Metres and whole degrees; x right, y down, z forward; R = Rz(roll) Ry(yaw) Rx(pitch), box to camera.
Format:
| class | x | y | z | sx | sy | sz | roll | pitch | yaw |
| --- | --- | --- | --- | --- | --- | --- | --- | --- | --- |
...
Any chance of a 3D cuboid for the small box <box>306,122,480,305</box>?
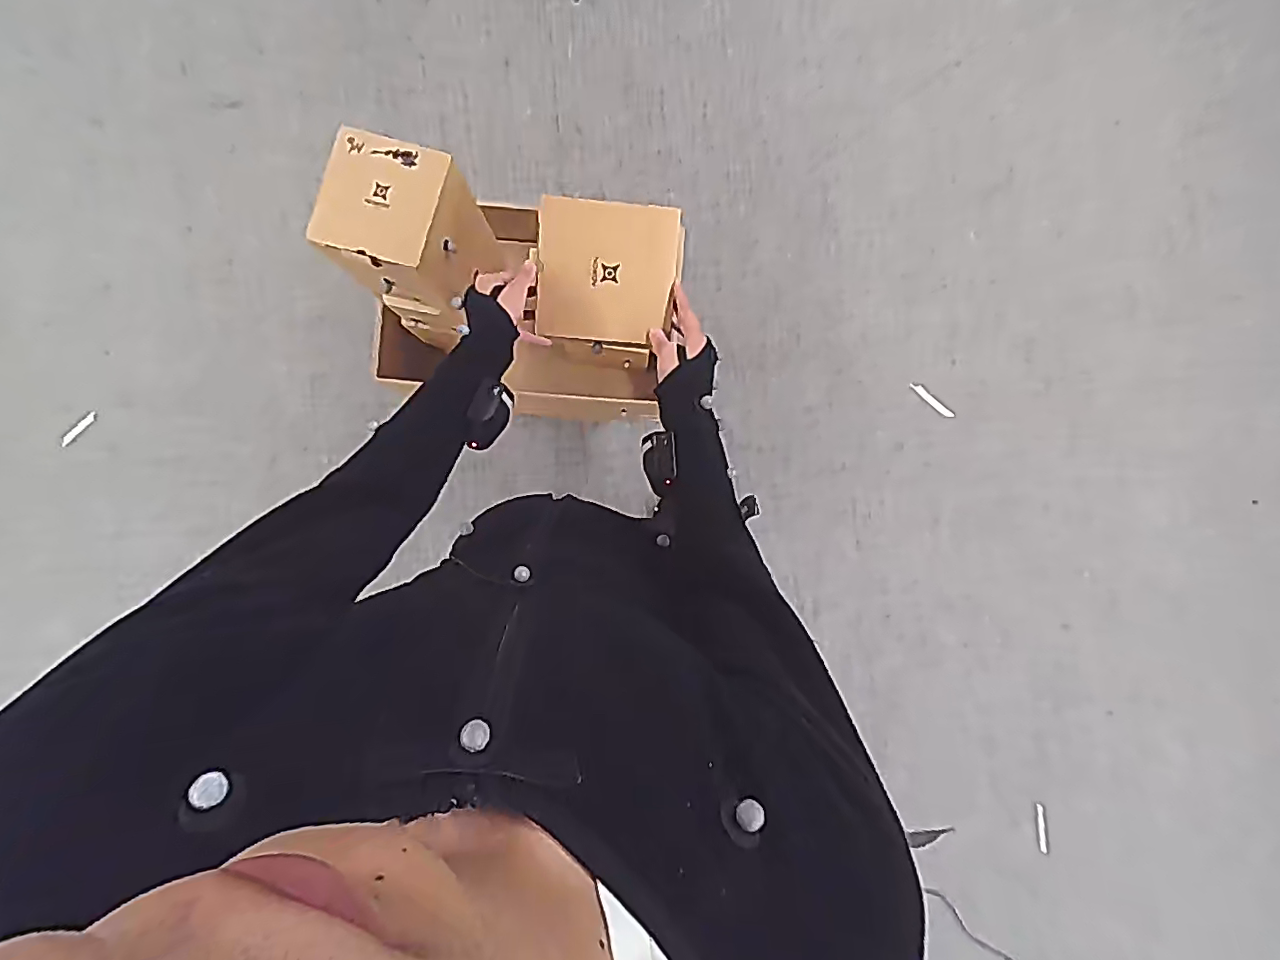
| class | x | y | z | sx | sy | sz | roll | pitch | yaw |
| --- | --- | --- | --- | --- | --- | --- | --- | --- | --- |
| small box | -0.365 | -0.394 | 0.832 | 0.168 | 0.176 | 0.179 | 16 | 88 | 0 |

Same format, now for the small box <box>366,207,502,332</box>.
| class | x | y | z | sx | sy | sz | roll | pitch | yaw |
| --- | --- | --- | --- | --- | --- | --- | --- | --- | --- |
| small box | -0.367 | -0.392 | 0.997 | 0.168 | 0.176 | 0.179 | 12 | 87 | 0 |

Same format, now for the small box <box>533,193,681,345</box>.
| class | x | y | z | sx | sy | sz | roll | pitch | yaw |
| --- | --- | --- | --- | --- | --- | --- | --- | --- | --- |
| small box | -0.043 | -0.277 | 0.745 | 0.179 | 0.176 | 0.168 | 5 | 103 | 0 |
